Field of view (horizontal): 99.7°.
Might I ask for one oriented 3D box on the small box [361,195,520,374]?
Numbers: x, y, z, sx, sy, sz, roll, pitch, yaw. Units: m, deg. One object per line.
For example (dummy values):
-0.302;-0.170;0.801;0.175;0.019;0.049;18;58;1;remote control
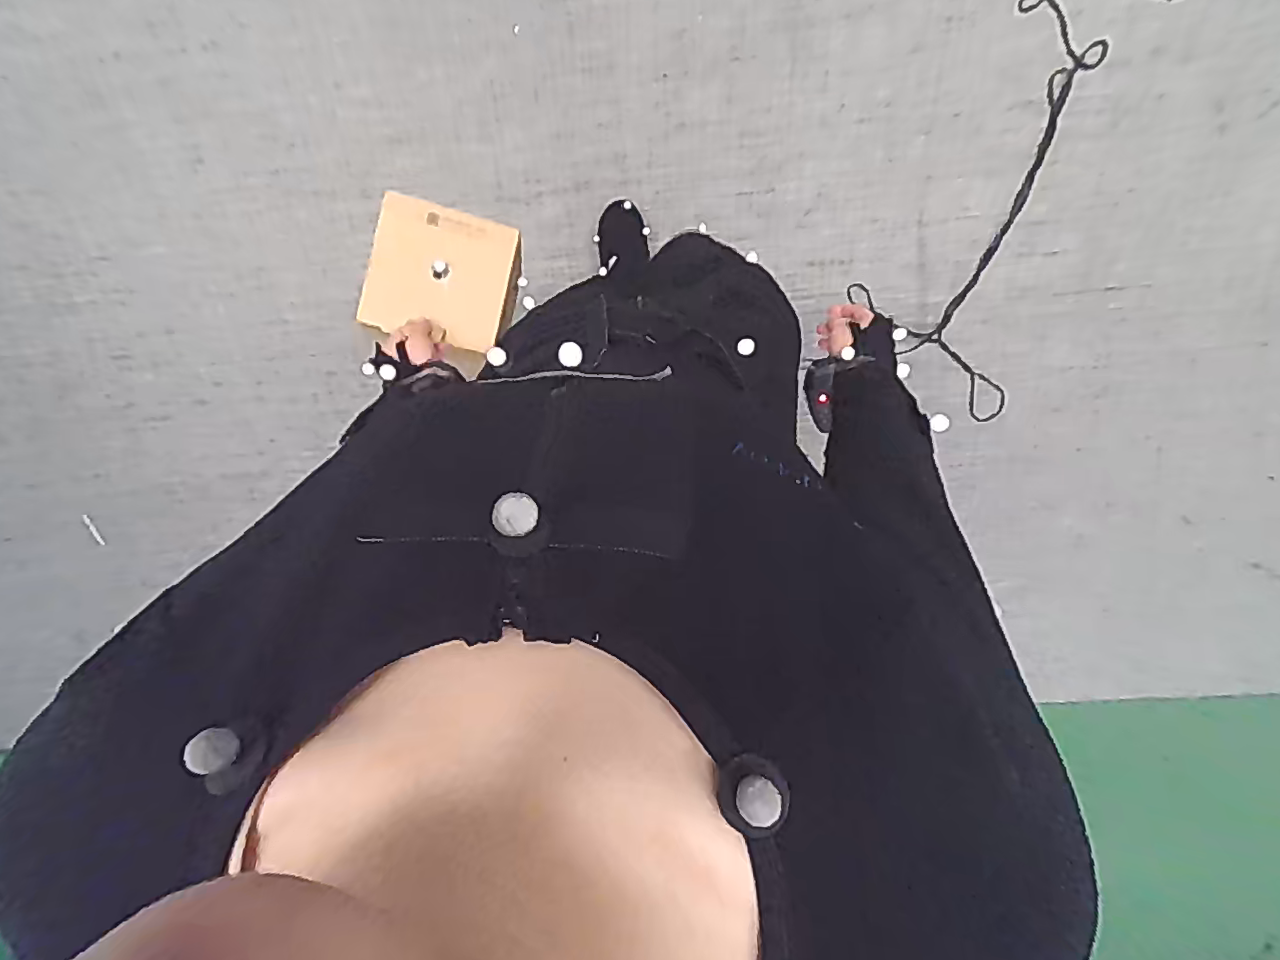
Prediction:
-0.265;-0.260;0.751;0.168;0.179;0.176;12;89;-13;small box
